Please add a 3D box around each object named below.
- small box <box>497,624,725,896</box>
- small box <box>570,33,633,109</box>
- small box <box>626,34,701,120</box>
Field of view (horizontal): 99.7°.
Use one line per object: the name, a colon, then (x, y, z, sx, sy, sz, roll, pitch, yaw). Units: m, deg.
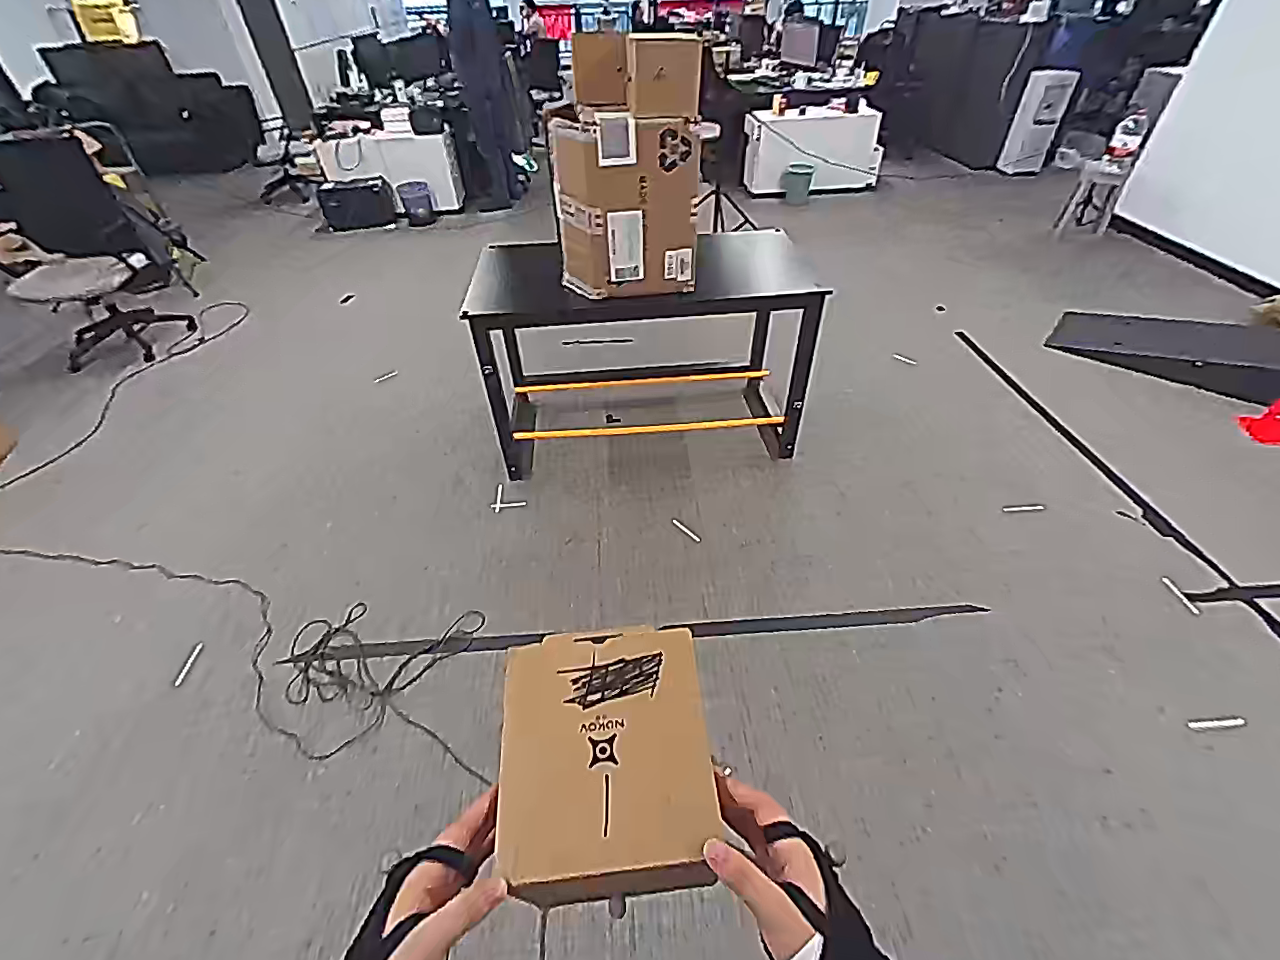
small box: (-0.023, 0.257, 0.496, 0.168, 0.176, 0.179, -6, 48, -1)
small box: (-0.113, -1.219, 1.608, 0.179, 0.176, 0.168, -6, 40, -6)
small box: (0.061, -1.096, 1.470, 0.179, 0.176, 0.168, -6, 45, -5)
